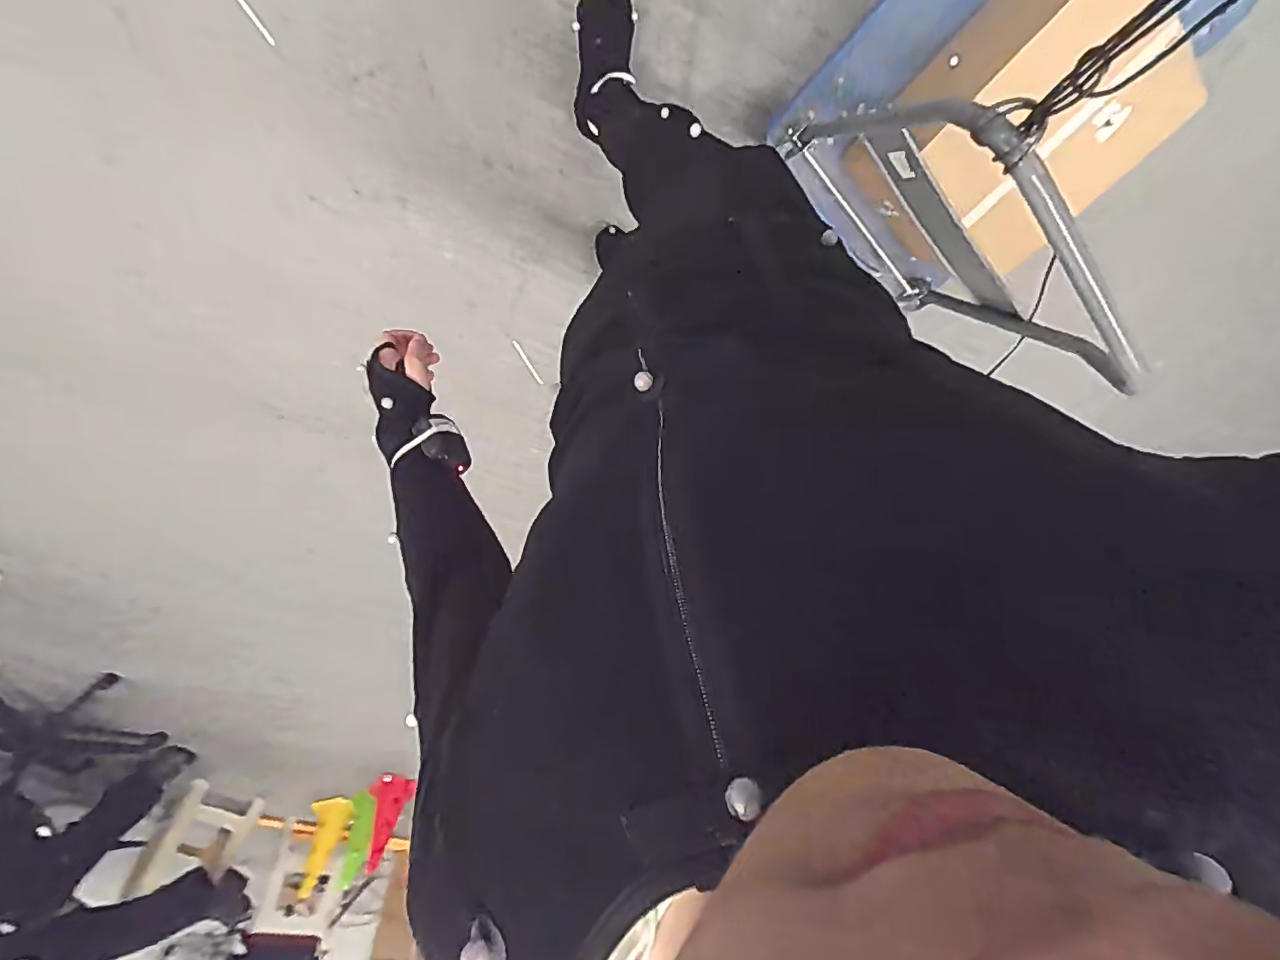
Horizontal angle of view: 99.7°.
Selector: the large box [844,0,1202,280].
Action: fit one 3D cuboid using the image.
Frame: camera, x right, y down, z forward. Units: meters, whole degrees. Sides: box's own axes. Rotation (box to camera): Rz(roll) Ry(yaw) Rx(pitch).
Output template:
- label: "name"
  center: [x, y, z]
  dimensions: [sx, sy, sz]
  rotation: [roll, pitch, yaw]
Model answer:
- label: "large box"
  center: [0.688, -0.668, 1.038]
  dimensions: [0.320, 0.320, 0.408]
  rotation: [37, 111, -25]
